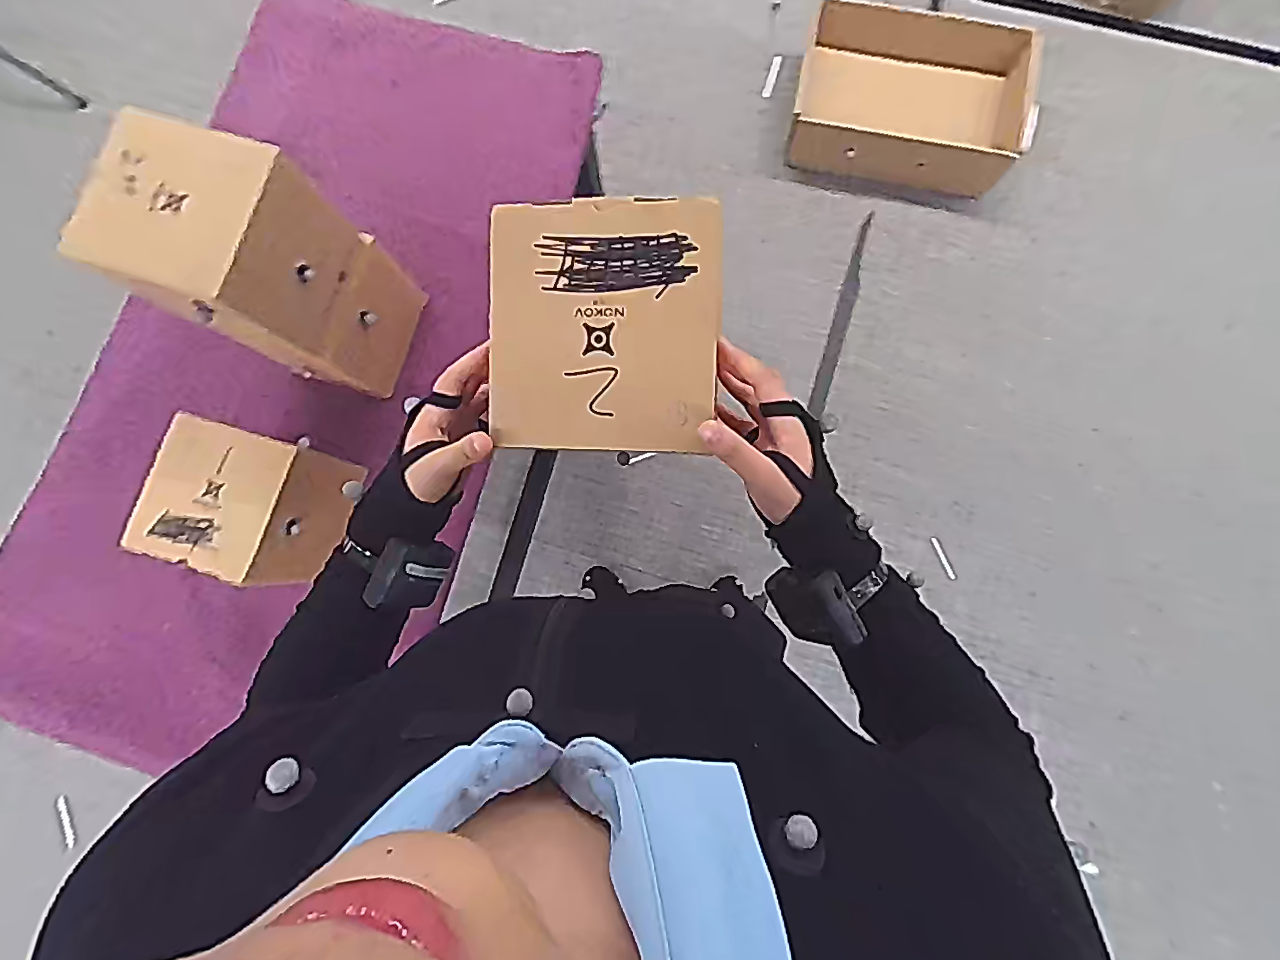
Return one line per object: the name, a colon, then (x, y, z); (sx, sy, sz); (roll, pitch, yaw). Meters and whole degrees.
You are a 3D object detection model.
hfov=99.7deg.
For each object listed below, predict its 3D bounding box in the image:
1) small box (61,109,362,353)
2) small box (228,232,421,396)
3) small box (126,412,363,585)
small box: (-0.454, -0.261, 0.607); (0.179, 0.176, 0.168); (17, 83, 4)
small box: (-0.439, -0.242, 0.771); (0.168, 0.176, 0.179); (17, 83, 4)
small box: (-0.513, 0.032, 0.732); (0.168, 0.176, 0.179); (16, 82, 4)
